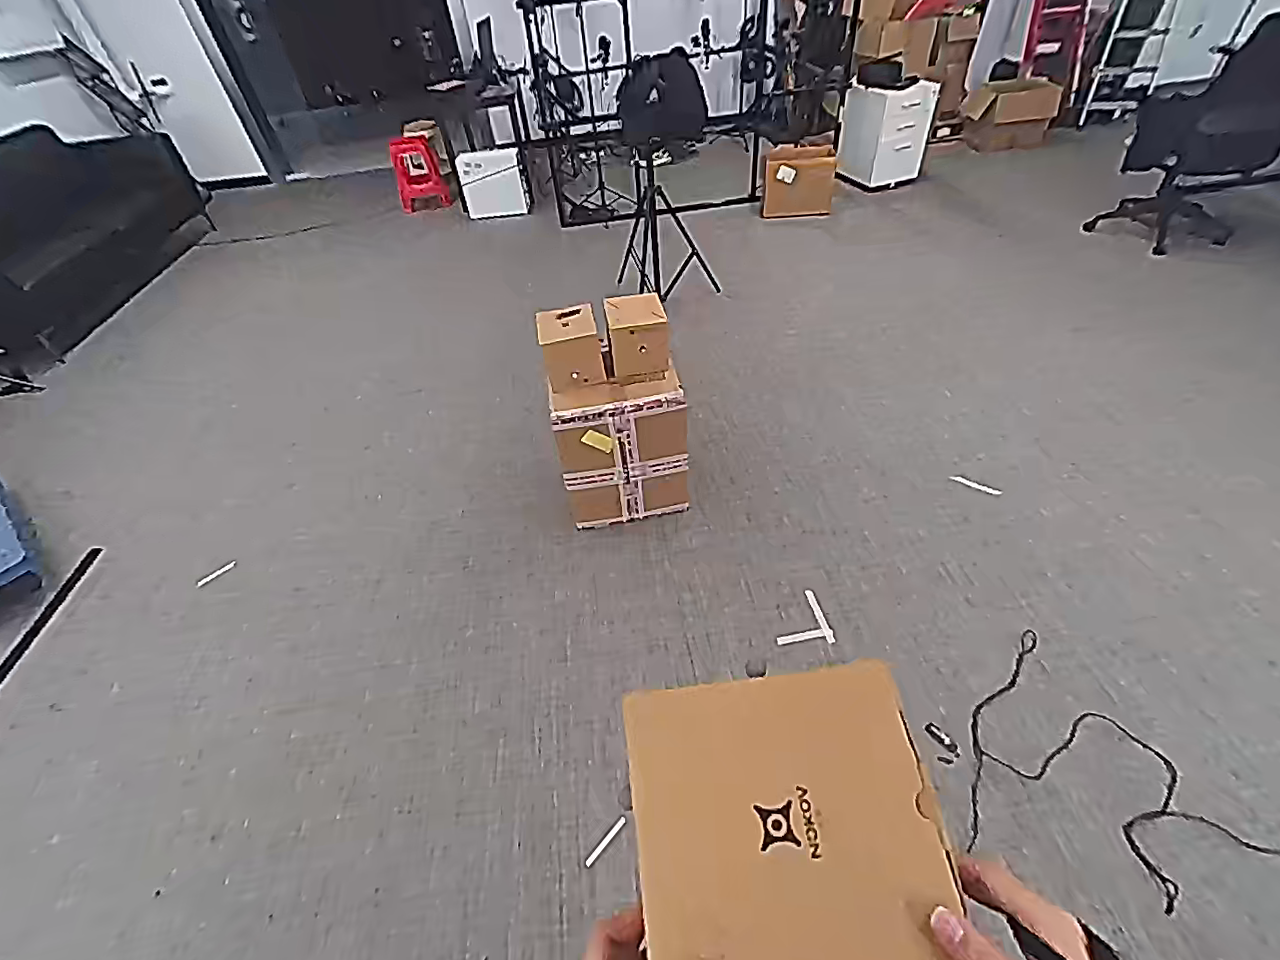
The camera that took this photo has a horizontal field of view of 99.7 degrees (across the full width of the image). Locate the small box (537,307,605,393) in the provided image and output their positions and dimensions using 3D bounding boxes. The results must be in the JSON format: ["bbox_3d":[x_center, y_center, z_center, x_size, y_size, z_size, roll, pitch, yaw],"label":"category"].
[{"bbox_3d":[-0.203,-0.383,1.601,0.168,0.176,0.179,-12,46,-2],"label":"small box"}]

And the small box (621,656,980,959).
[{"bbox_3d":[0.087,0.234,0.384,0.179,0.176,0.168,-8,61,-1],"label":"small box"}]

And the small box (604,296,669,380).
[{"bbox_3d":[-0.013,-0.428,1.619,0.168,0.176,0.179,-8,46,-6],"label":"small box"}]
